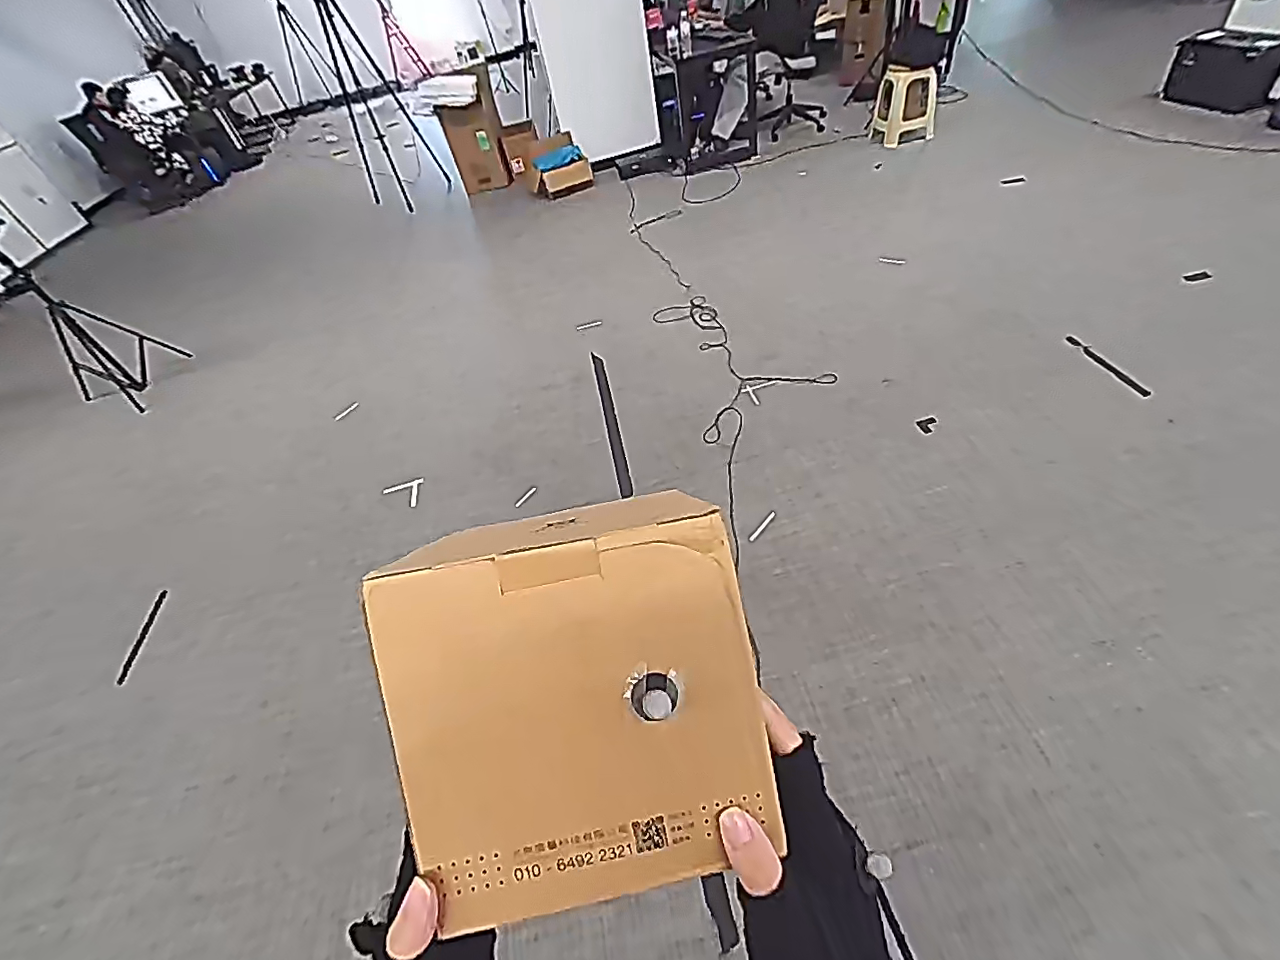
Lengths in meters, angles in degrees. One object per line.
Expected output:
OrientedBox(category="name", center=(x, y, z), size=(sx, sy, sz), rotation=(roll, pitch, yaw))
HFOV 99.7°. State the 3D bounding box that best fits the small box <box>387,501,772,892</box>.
OrientedBox(category="small box", center=(-0.028, 0.117, 0.342), size=(0.168, 0.176, 0.179), rotation=(-11, 2, -2))
